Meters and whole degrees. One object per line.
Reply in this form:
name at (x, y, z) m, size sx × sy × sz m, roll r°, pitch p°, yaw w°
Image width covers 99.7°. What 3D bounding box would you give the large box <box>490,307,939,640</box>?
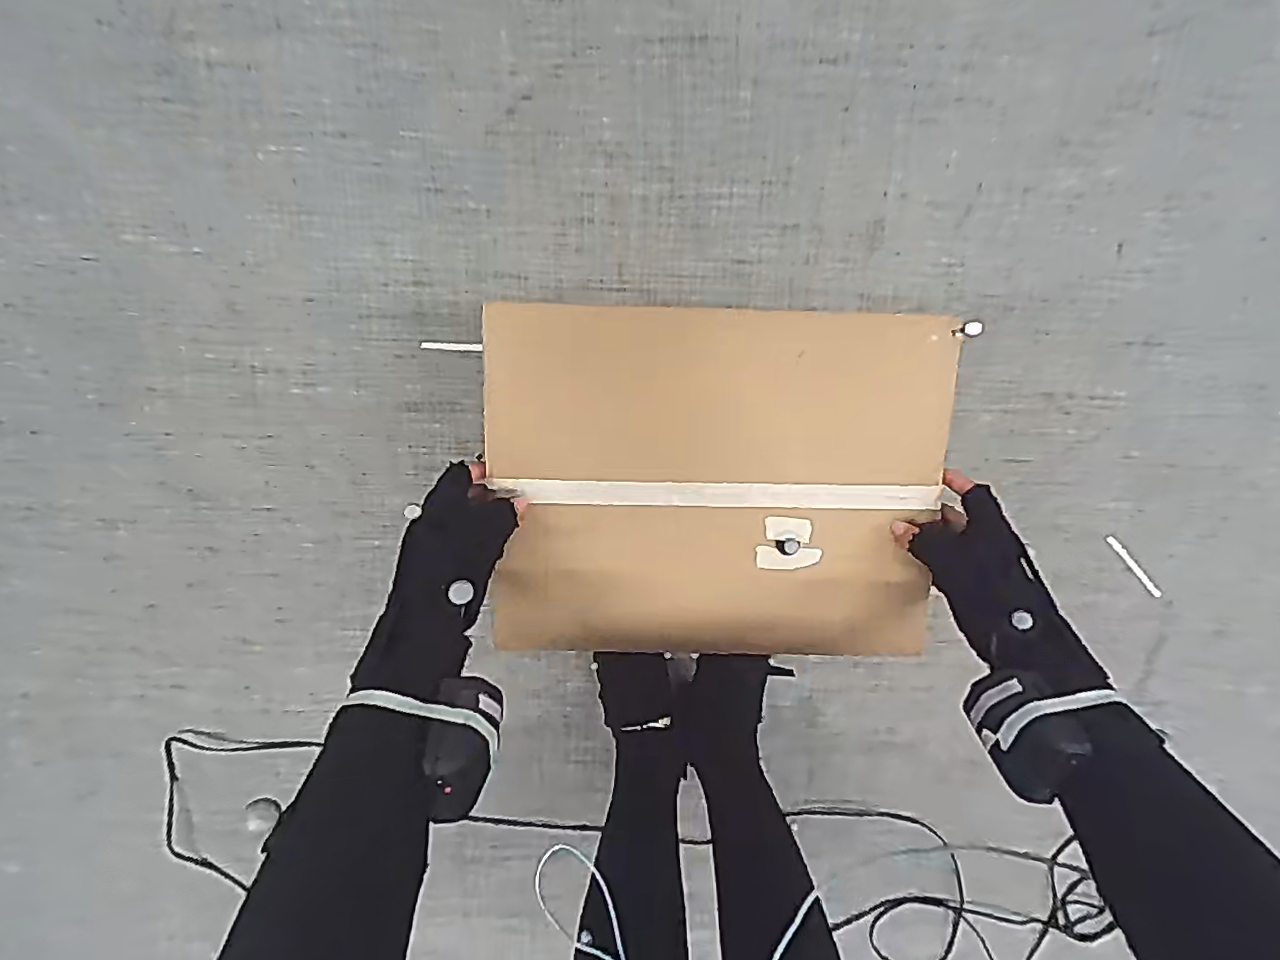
large box at (0.060, -0.021, 0.644) m, size 0.408 × 0.320 × 0.320 m, roll 1°, pitch 101°, yaw -2°
